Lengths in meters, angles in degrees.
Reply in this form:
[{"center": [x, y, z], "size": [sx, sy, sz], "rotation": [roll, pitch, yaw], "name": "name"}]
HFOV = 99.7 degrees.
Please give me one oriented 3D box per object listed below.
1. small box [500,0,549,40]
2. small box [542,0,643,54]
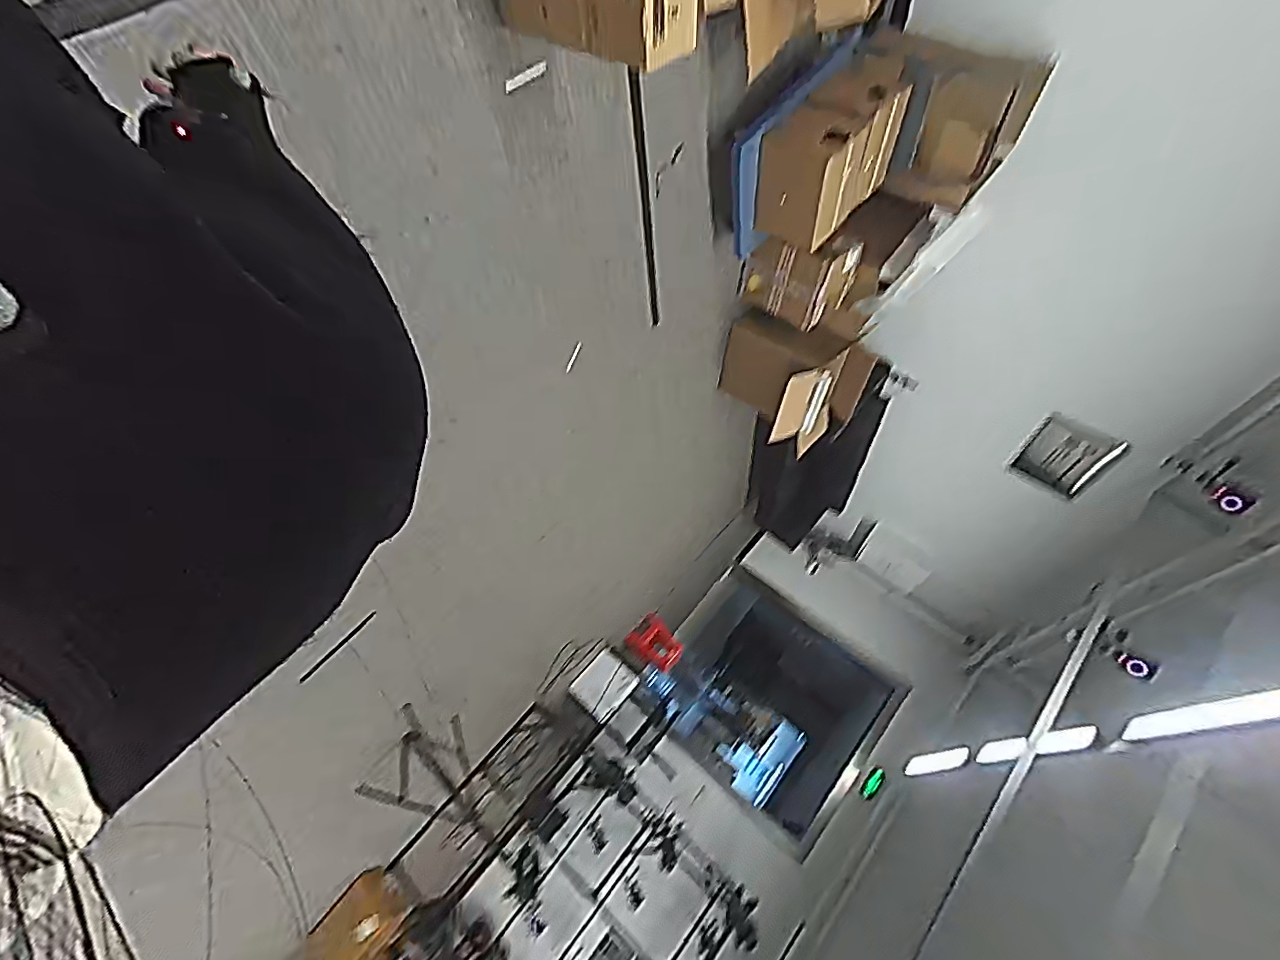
[{"center": [-0.235, -1.208, 1.299], "size": [0.168, 0.176, 0.179], "rotation": [-43, 155, -23], "name": "small box"}, {"center": [-0.116, -1.114, 1.234], "size": [0.179, 0.176, 0.168], "rotation": [-44, 155, -23], "name": "small box"}]
